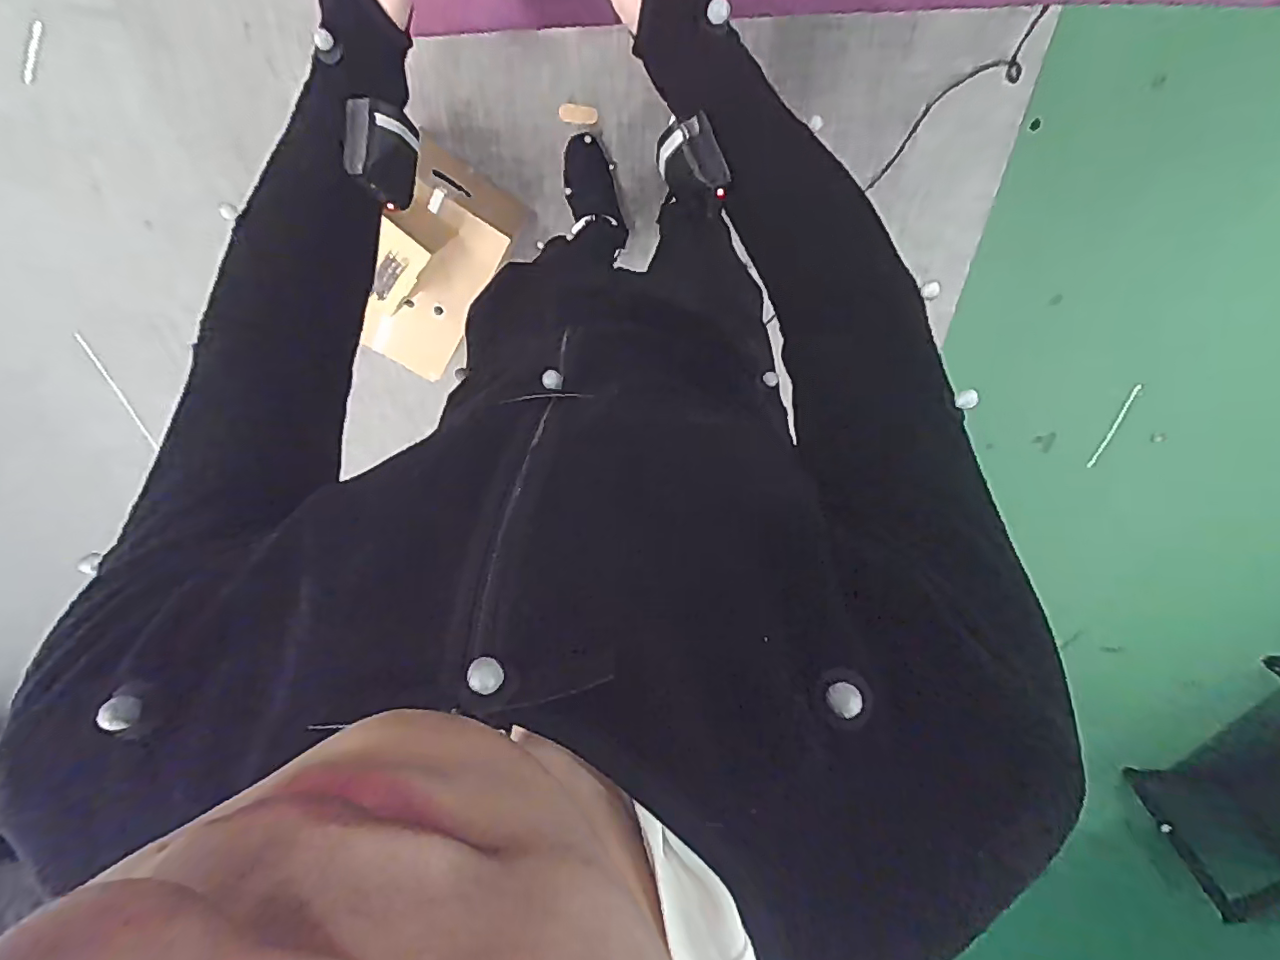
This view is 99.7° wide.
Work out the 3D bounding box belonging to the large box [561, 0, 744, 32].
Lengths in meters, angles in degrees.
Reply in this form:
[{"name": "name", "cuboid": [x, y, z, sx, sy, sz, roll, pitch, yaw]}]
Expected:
[{"name": "large box", "cuboid": [0.016, -1.031, 0.909, 0.320, 0.320, 0.408, -2, 126, 0]}]
